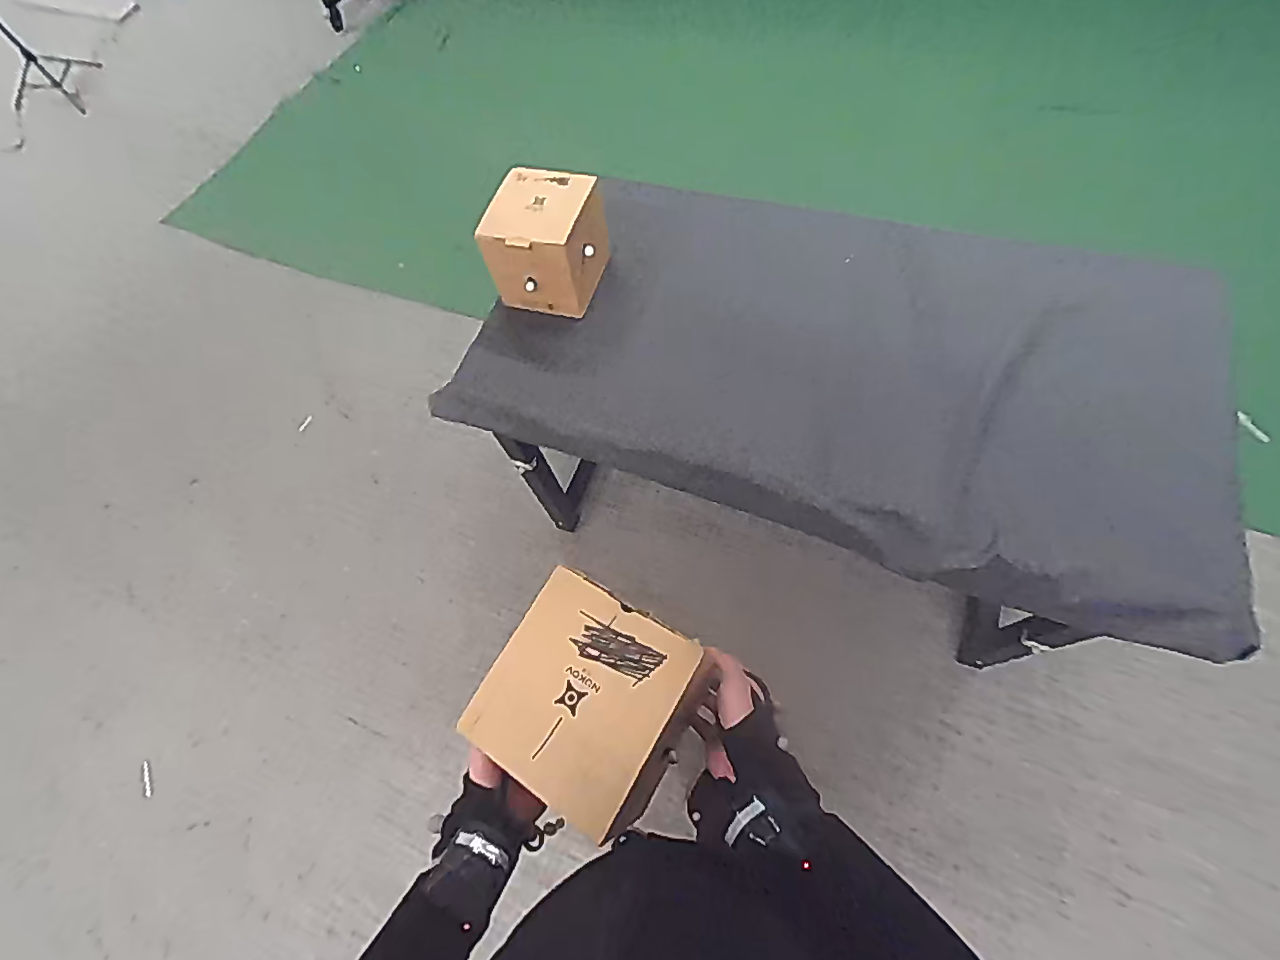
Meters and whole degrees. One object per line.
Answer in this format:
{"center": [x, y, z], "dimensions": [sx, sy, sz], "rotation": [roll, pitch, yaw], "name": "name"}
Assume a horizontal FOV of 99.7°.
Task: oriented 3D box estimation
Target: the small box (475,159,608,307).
{"center": [-0.167, -0.443, 0.985], "dimensions": [0.168, 0.176, 0.179], "rotation": [13, 68, 12], "name": "small box"}
